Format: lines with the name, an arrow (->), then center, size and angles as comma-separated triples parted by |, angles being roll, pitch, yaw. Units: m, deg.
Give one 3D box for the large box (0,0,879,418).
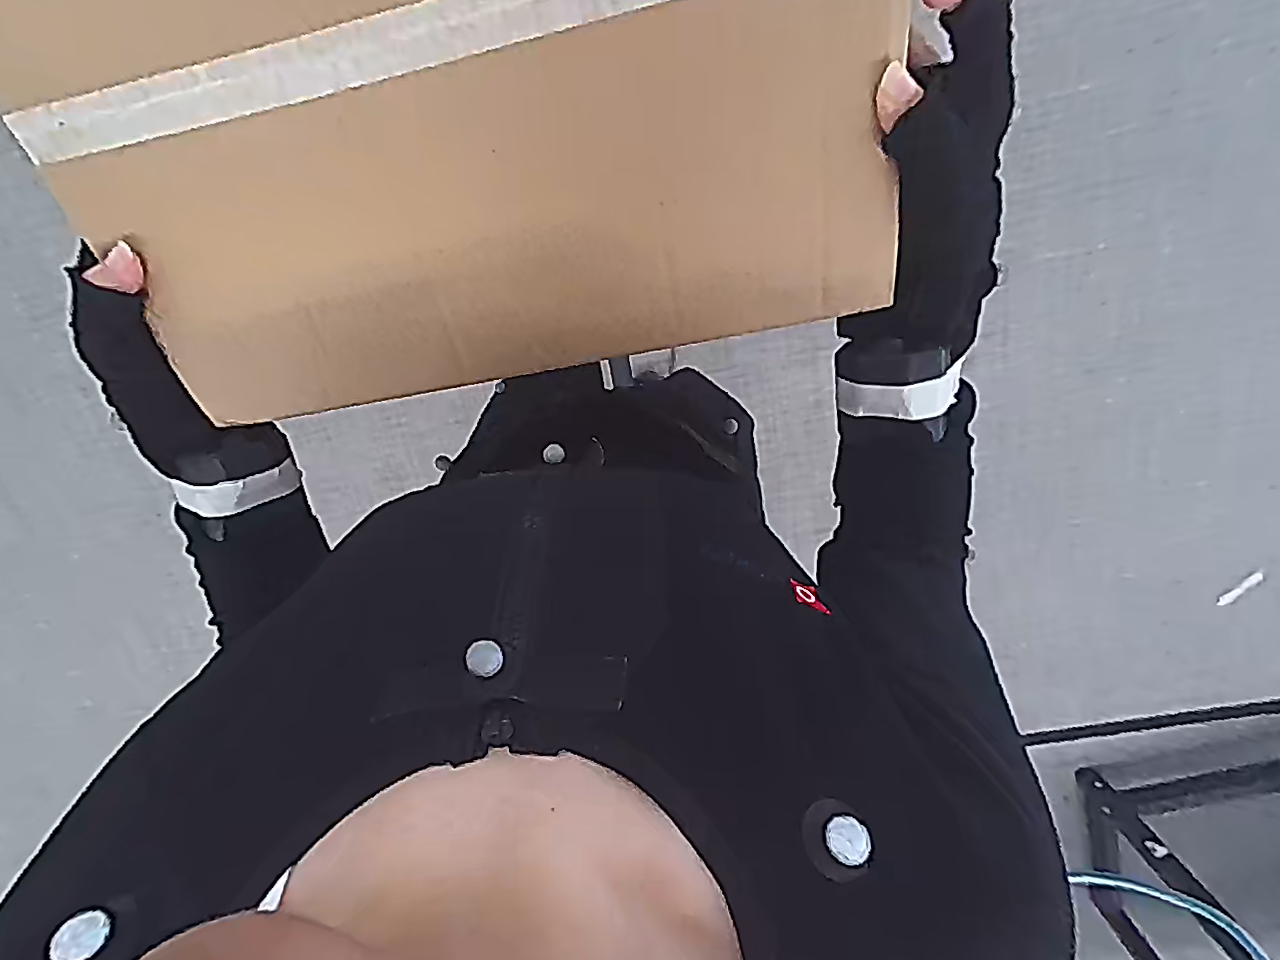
large box -> -0.092, -0.278, 0.368 | 0.408, 0.320, 0.320 | -9, 121, 7
